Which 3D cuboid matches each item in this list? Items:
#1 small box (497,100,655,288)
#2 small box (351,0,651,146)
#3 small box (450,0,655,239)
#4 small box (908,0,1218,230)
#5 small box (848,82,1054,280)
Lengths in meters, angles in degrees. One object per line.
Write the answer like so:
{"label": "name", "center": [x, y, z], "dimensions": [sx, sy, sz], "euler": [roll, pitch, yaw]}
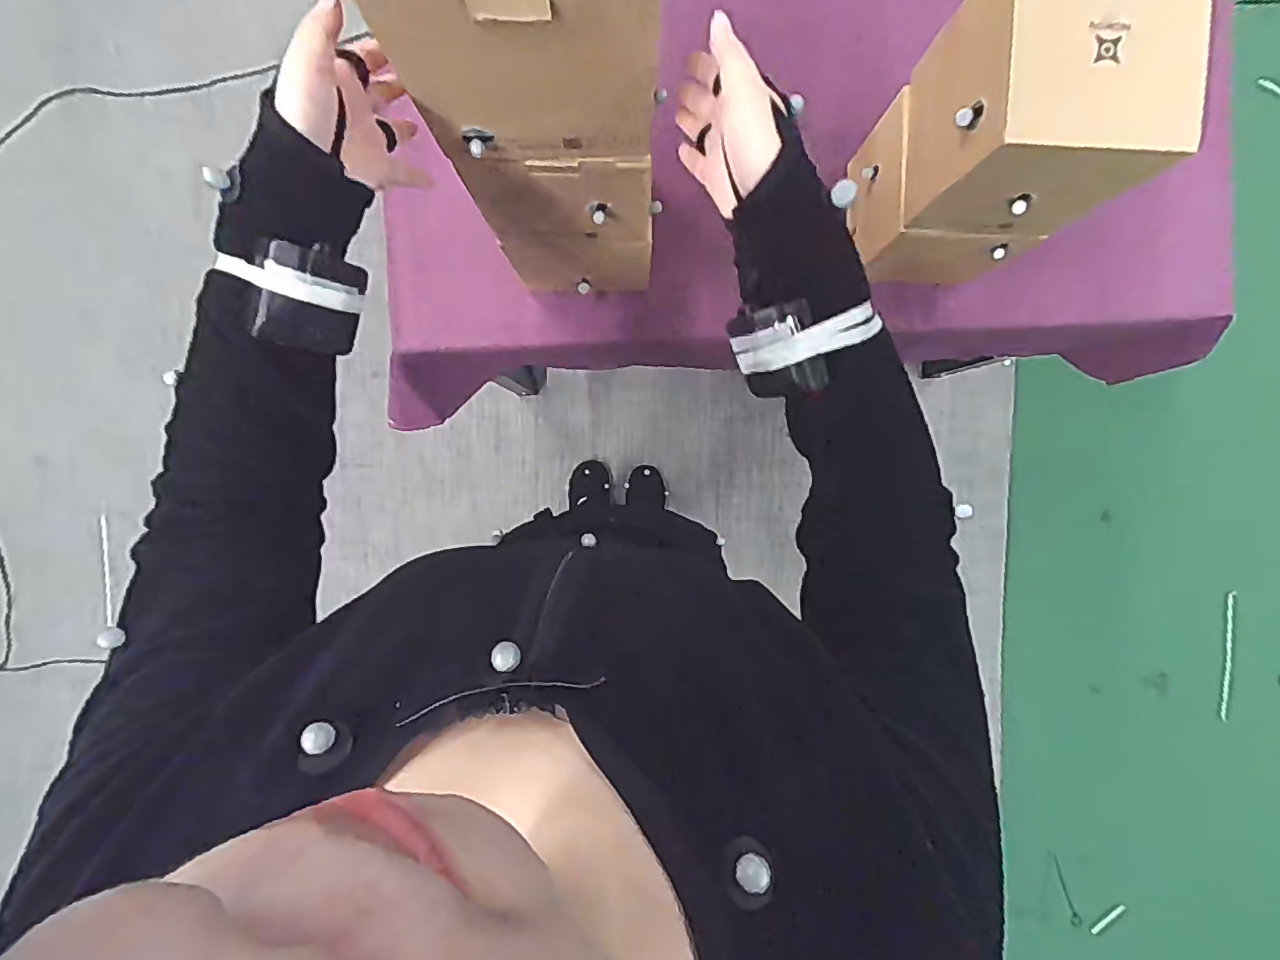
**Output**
{"label": "small box", "center": [-0.074, -0.350, 0.679], "dimensions": [0.179, 0.176, 0.168], "euler": [0, 92, -1]}
{"label": "small box", "center": [-0.076, -0.346, 0.351], "dimensions": [0.168, 0.176, 0.179], "euler": [-2, 92, -1]}
{"label": "small box", "center": [-0.071, -0.348, 0.516], "dimensions": [0.168, 0.176, 0.179], "euler": [1, 92, -1]}
{"label": "small box", "center": [0.379, -0.360, 0.517], "dimensions": [0.168, 0.176, 0.179], "euler": [3, 92, -1]}
{"label": "small box", "center": [0.378, -0.362, 0.682], "dimensions": [0.179, 0.176, 0.168], "euler": [1, 93, -1]}
